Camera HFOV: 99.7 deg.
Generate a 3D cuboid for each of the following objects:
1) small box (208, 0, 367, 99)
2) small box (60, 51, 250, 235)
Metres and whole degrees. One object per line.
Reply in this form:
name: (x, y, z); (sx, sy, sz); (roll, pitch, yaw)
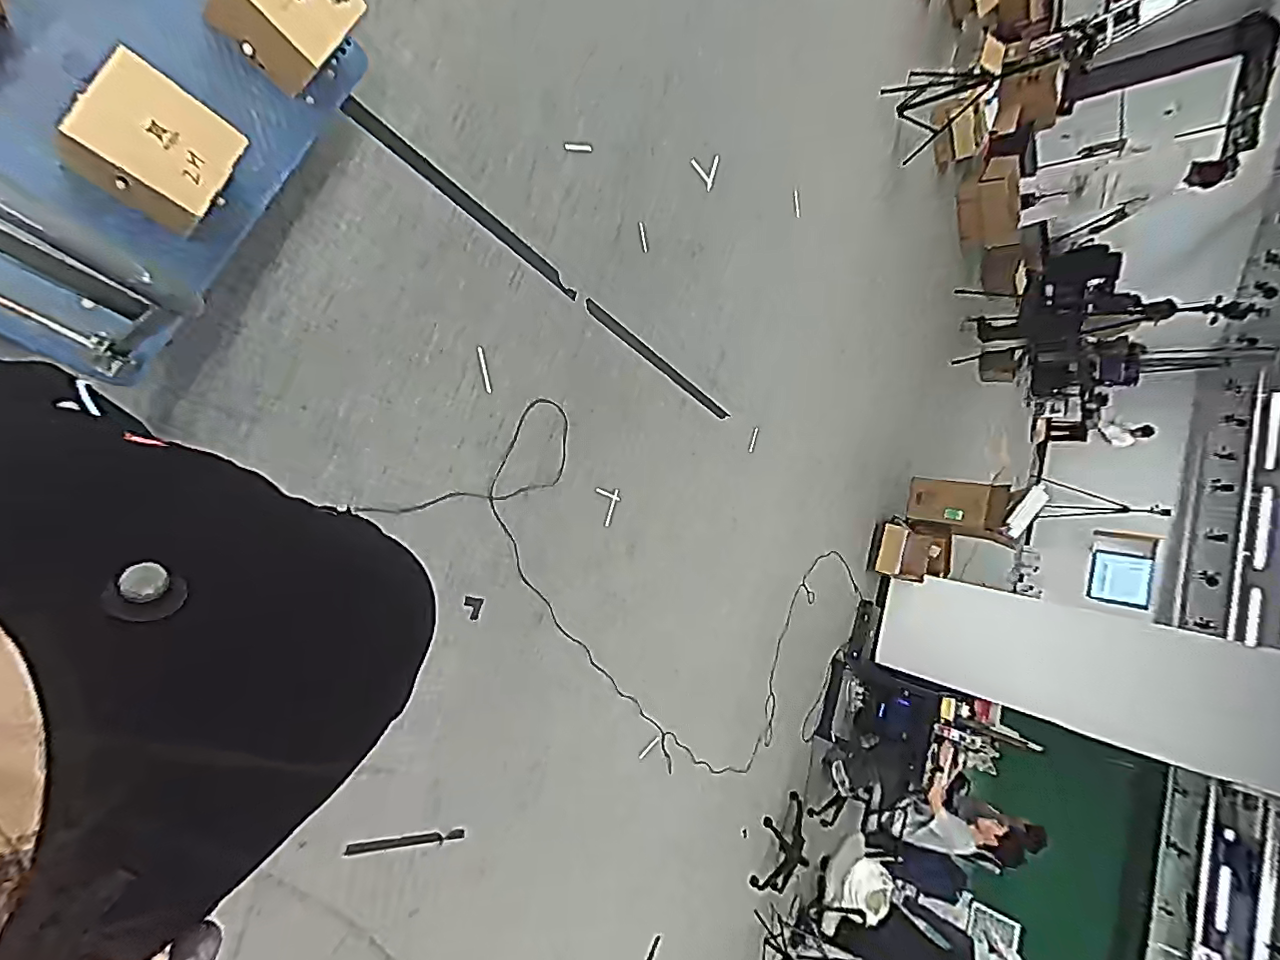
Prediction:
small box: (-0.654, -0.860, 1.001); (0.168, 0.176, 0.179); (40, 68, -43)
small box: (-0.799, -0.538, 0.893); (0.179, 0.176, 0.168); (34, 71, -45)
